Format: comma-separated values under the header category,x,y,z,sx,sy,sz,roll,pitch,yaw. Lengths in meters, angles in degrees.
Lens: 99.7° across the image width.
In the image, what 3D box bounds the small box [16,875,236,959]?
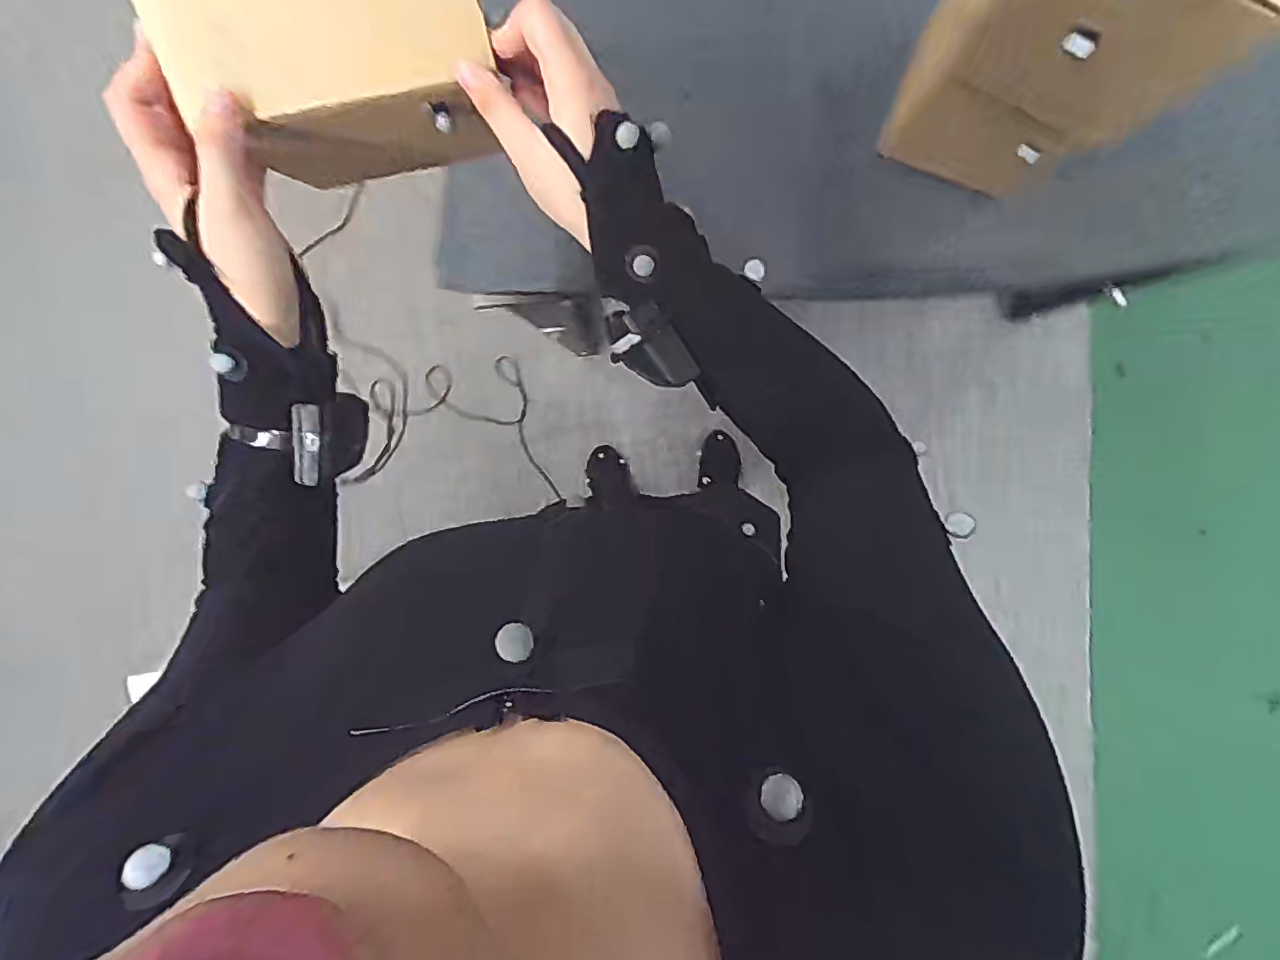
category,x,y,z,sx,sy,sz,roll,pitch,yaw
small box,-0.688,0.669,0.709,0.179,0.176,0.168,17,97,-2
